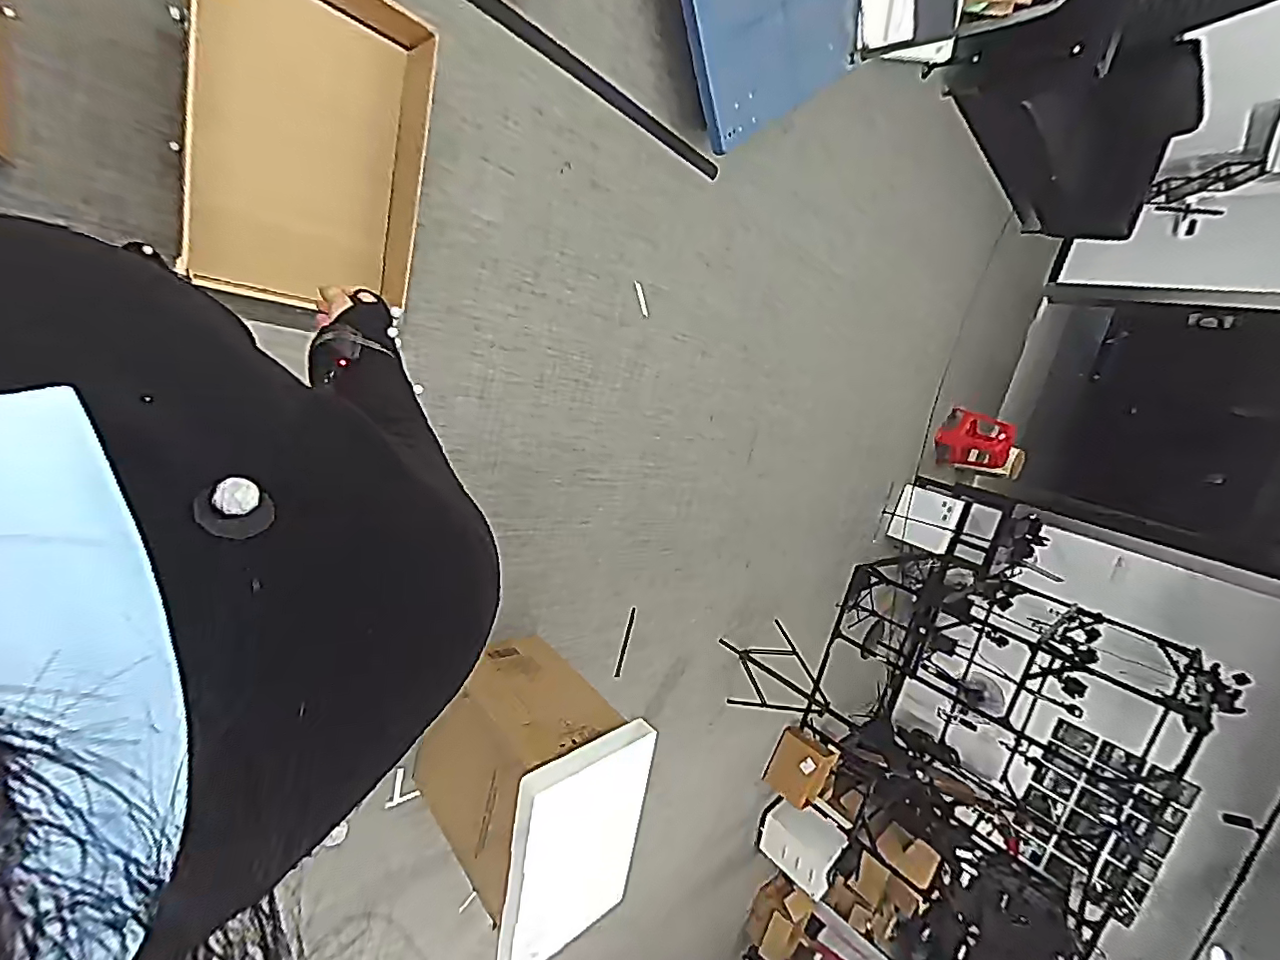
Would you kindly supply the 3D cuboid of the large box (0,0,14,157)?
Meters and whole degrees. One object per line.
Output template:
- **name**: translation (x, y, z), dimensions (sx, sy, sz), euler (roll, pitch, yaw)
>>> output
- **large box**: translation (-1.033, -0.682, 0.668), dimensions (0.320, 0.320, 0.408), euler (-2, 110, -44)
